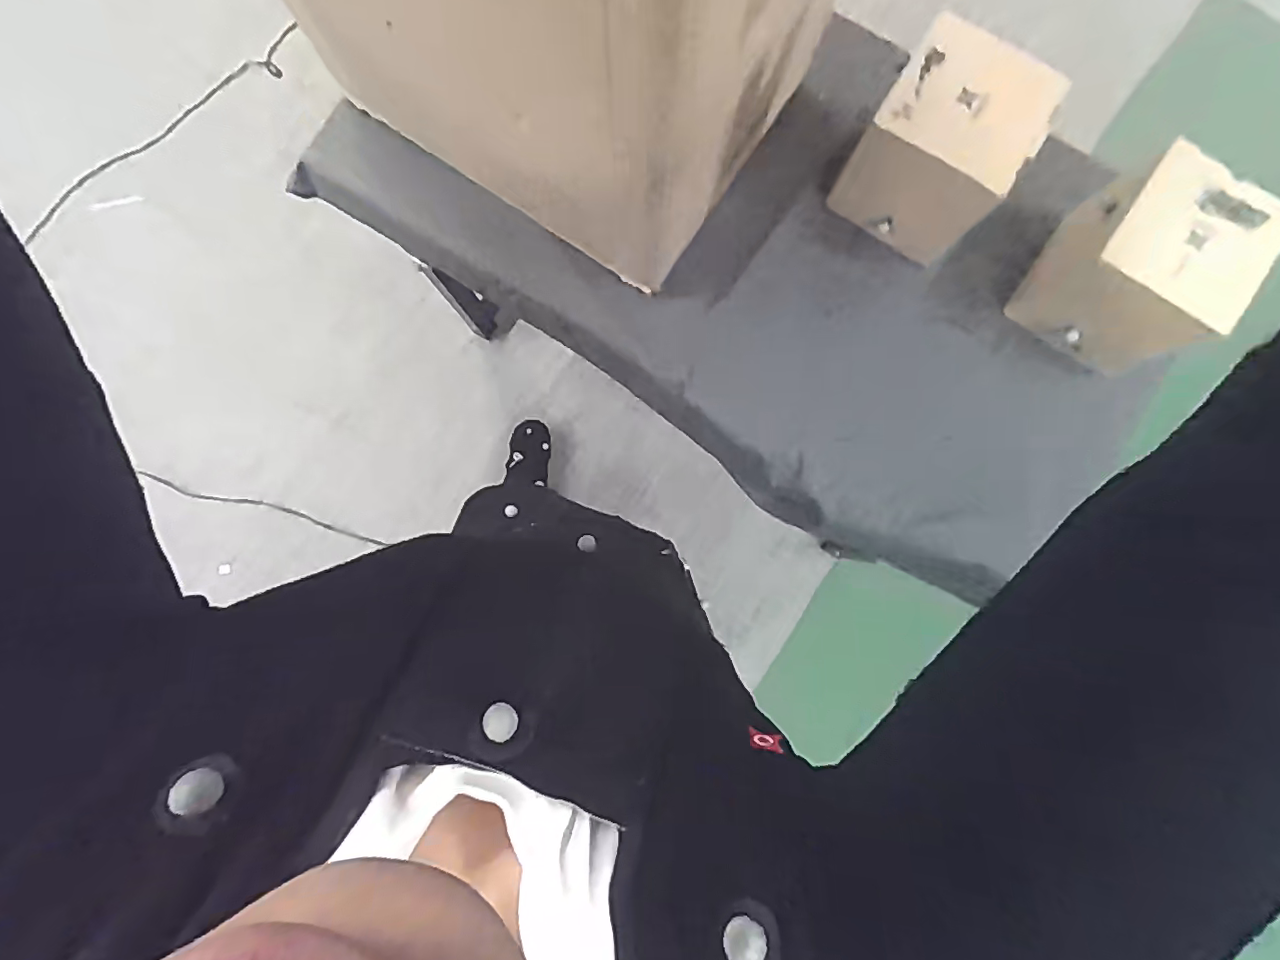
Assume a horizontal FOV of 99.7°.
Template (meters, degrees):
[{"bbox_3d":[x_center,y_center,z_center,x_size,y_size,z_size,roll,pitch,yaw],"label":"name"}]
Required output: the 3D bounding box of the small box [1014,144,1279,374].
[{"bbox_3d":[0.636,-0.267,0.694,0.168,0.176,0.179,35,86,3],"label":"small box"}]
